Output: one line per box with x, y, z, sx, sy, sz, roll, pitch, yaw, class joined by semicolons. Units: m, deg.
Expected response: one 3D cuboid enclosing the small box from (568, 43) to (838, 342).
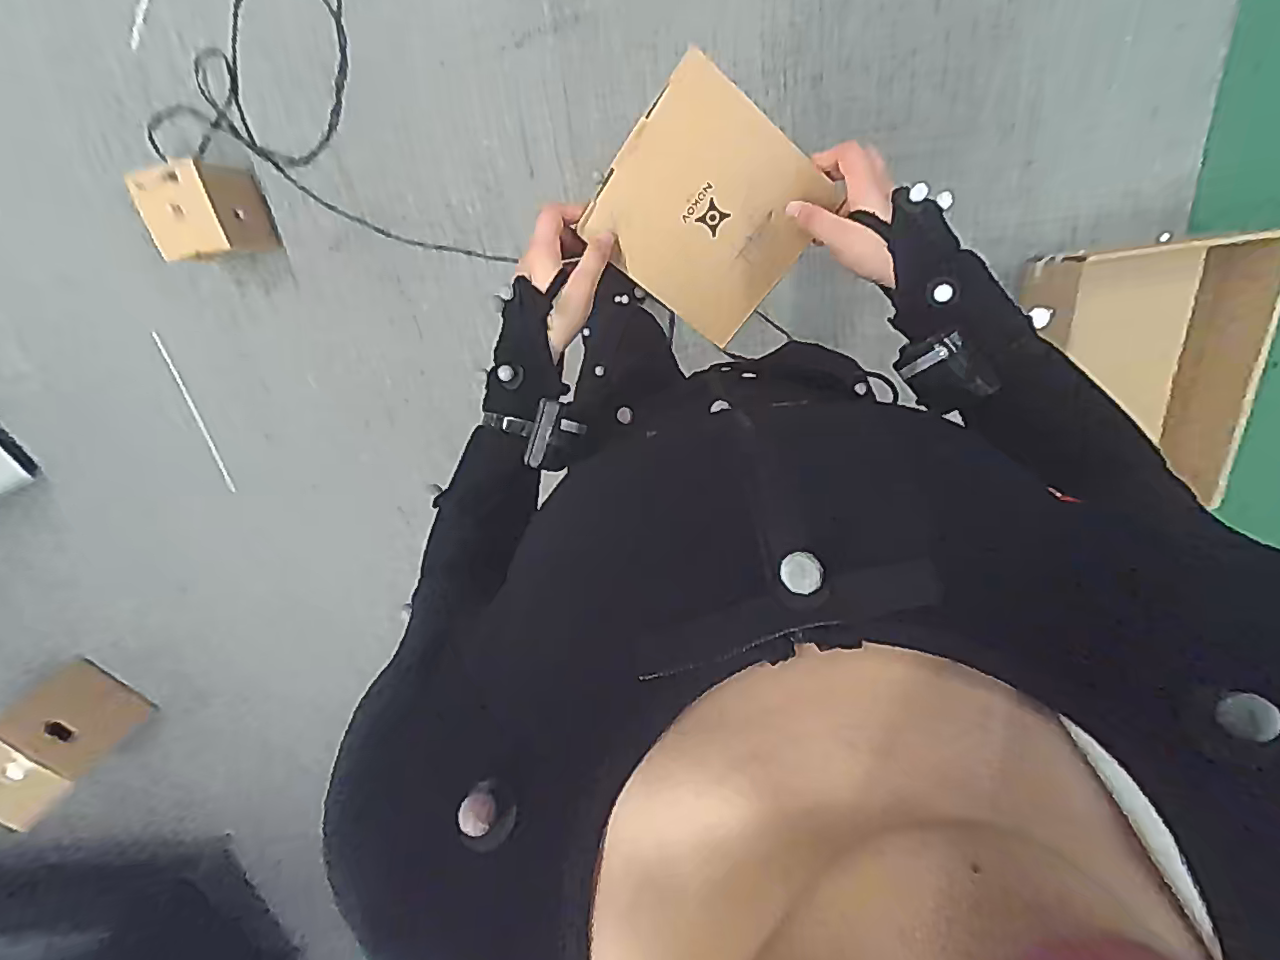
0.050;-0.269;0.532;0.179;0.176;0.168;31;115;-19;small box

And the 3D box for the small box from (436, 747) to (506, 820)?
-0.604;1.093;1.956;0.179;0.176;0.168;-6;113;5;small box

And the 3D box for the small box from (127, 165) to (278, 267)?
-0.978;-0.596;1.229;0.168;0.176;0.179;-9;114;7;small box
